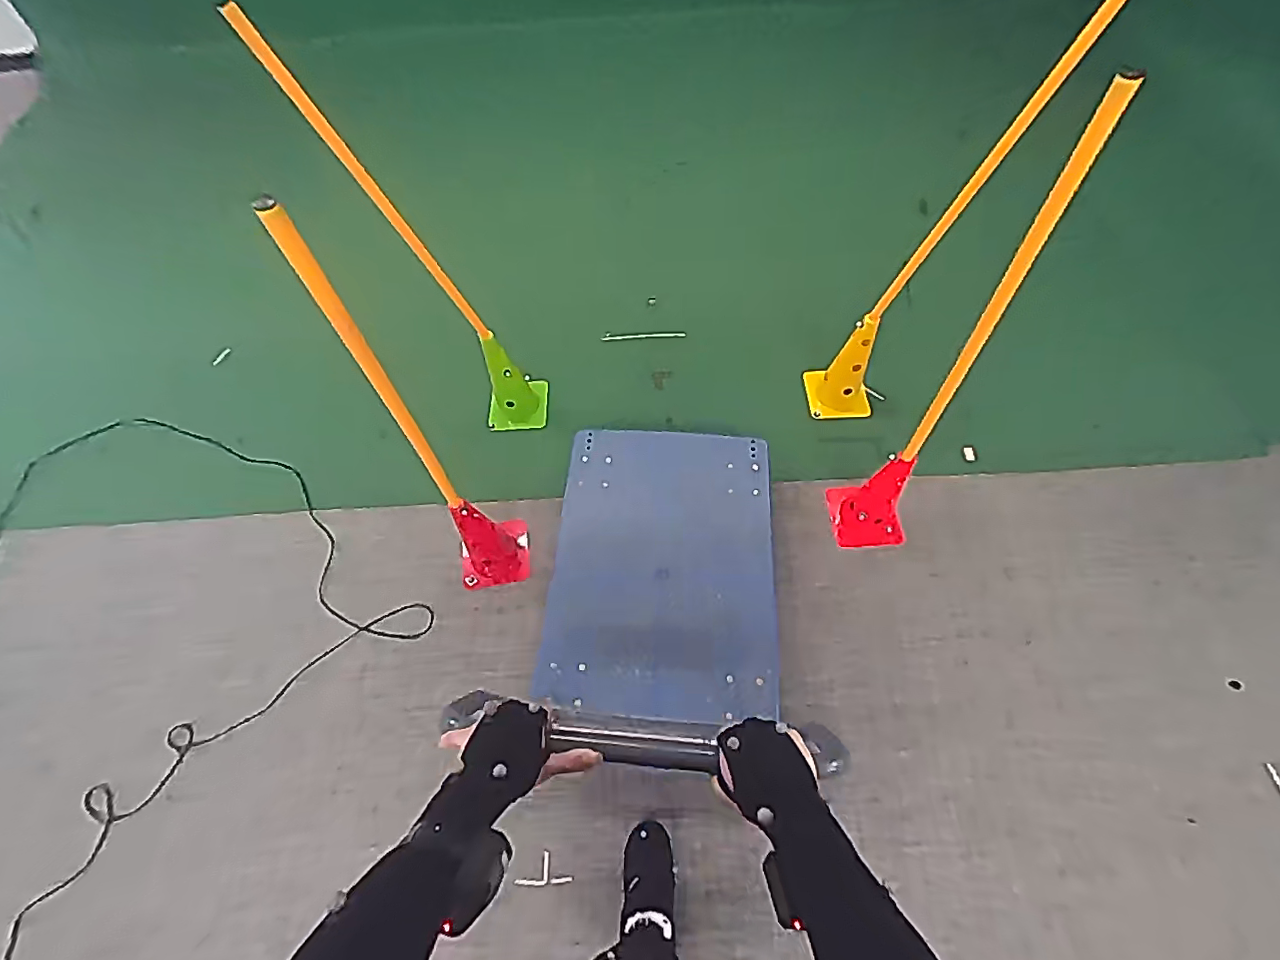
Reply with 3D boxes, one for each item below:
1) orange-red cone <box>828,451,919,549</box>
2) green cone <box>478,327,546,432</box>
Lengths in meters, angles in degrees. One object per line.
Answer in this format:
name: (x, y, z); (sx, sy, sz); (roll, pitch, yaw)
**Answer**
orange-red cone: (0.667, 0.029, 1.468); (0.198, 0.360, 0.199); (-3, 60, 1)
green cone: (-0.437, -0.338, 1.722); (0.200, 0.368, 0.202); (-4, 60, 2)
